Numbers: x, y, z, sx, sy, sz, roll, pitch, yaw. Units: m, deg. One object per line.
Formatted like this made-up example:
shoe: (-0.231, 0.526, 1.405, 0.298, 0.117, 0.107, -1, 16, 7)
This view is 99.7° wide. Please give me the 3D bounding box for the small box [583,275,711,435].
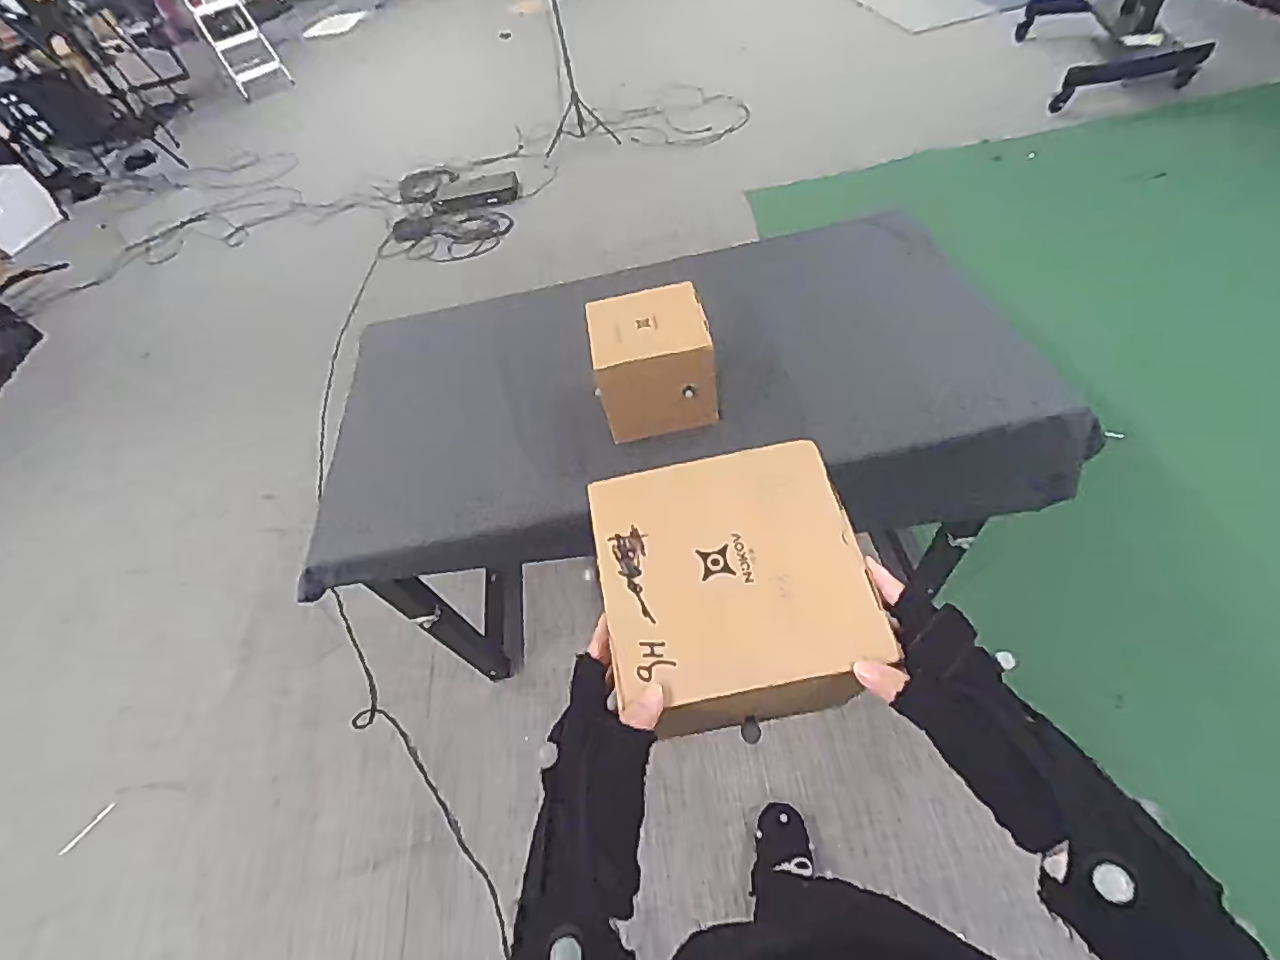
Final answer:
small box: (0.017, -0.198, 0.881, 0.179, 0.176, 0.168, -13, 53, 3)
